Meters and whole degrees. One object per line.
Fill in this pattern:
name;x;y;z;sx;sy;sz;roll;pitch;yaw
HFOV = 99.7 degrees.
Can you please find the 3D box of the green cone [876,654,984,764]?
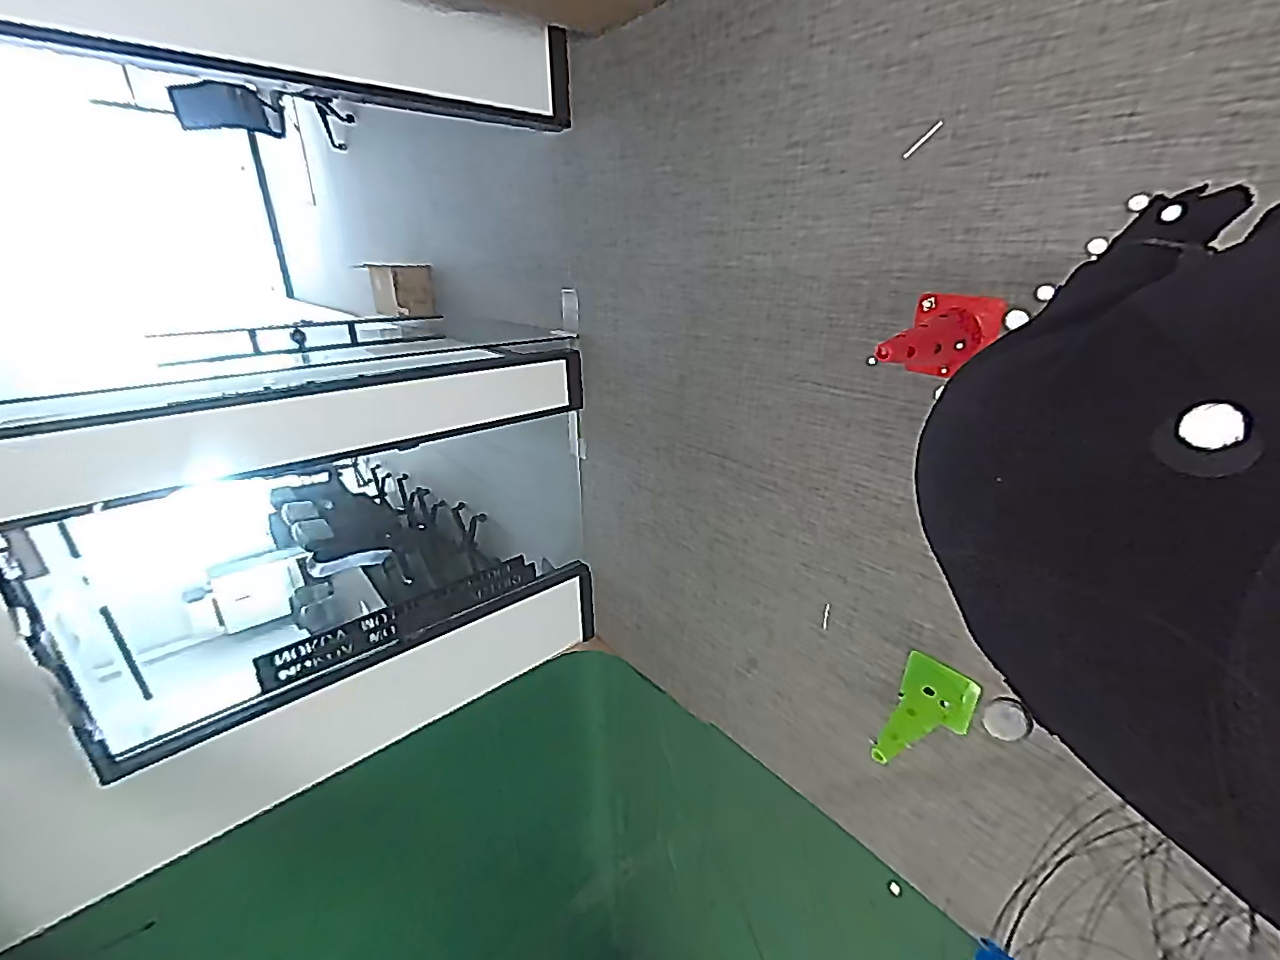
green cone;0.772;0.684;1.512;0.200;0.368;0.202;24;122;45
